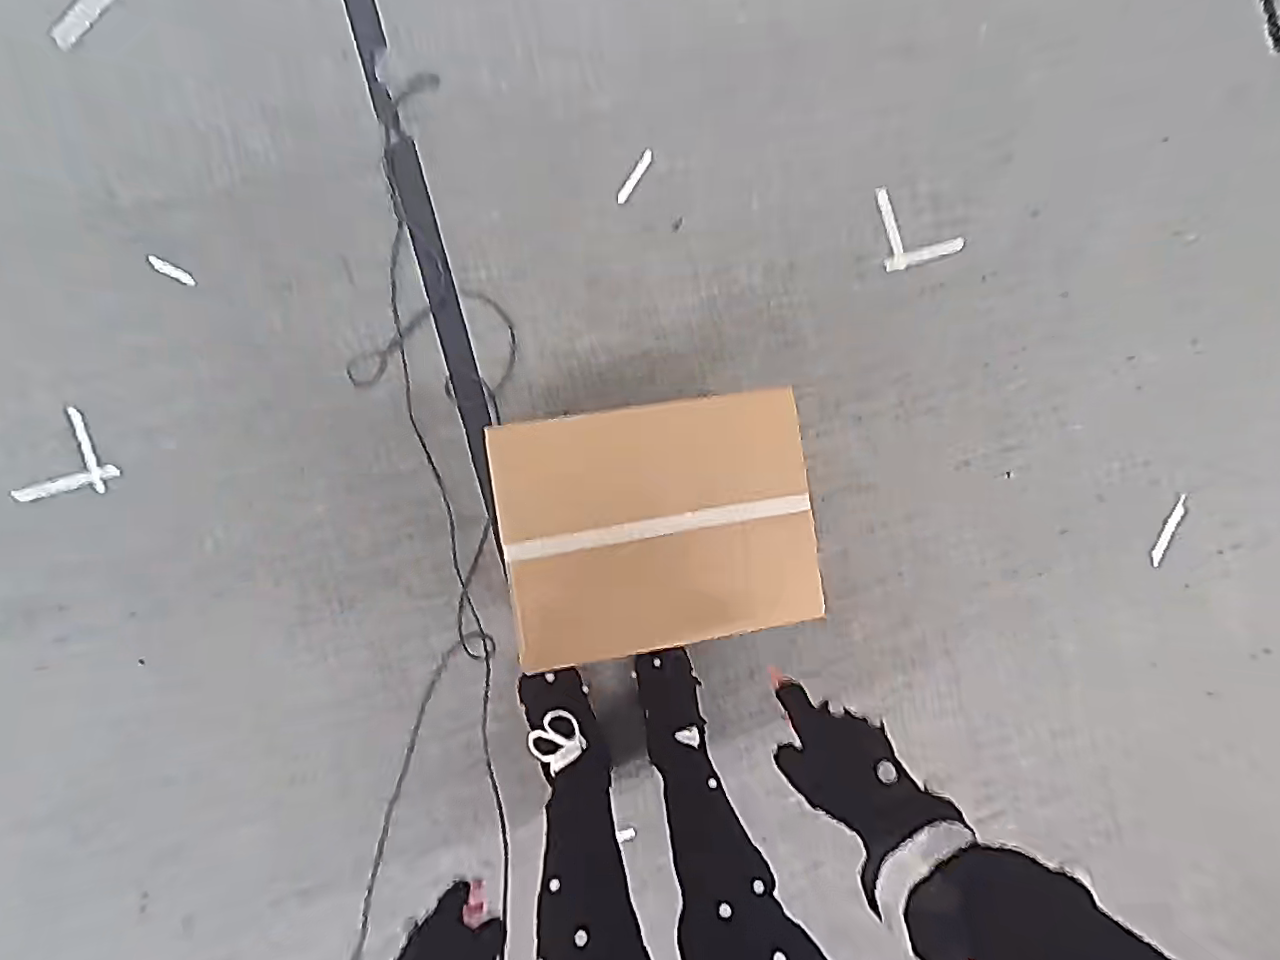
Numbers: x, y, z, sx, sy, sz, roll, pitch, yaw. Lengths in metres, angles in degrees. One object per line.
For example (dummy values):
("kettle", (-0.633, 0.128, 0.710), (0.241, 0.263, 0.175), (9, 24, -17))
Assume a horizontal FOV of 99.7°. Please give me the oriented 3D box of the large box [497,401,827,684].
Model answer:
("large box", (0.017, 0.077, 0.851), (0.408, 0.320, 0.320), (-9, 92, -7))
